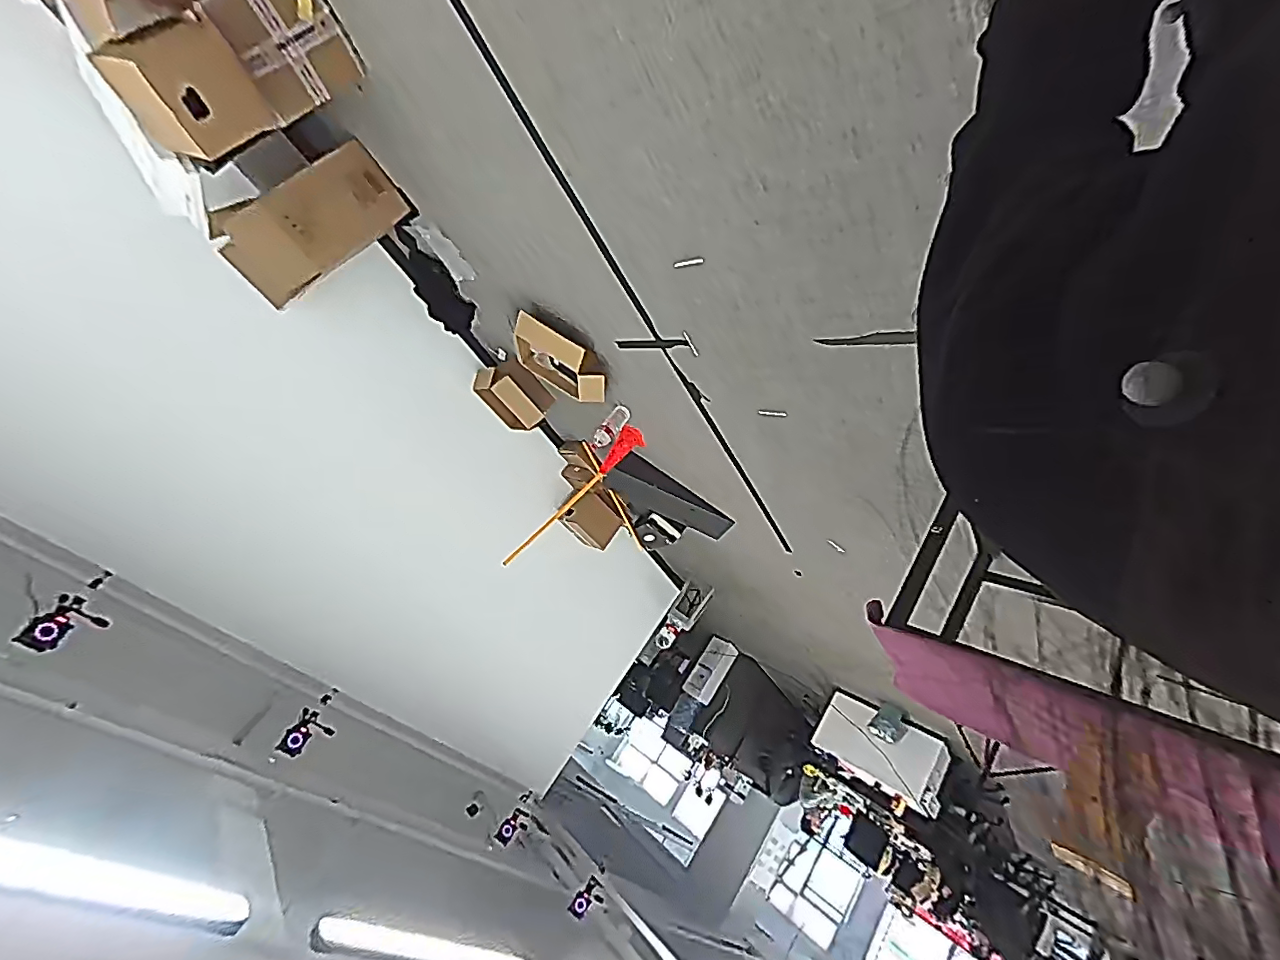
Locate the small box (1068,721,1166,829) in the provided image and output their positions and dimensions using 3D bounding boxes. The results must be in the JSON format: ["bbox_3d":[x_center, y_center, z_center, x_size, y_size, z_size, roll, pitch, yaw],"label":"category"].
[{"bbox_3d":[1.260,0.777,1.433,0.168,0.176,0.179,14,151,45],"label":"small box"}]
